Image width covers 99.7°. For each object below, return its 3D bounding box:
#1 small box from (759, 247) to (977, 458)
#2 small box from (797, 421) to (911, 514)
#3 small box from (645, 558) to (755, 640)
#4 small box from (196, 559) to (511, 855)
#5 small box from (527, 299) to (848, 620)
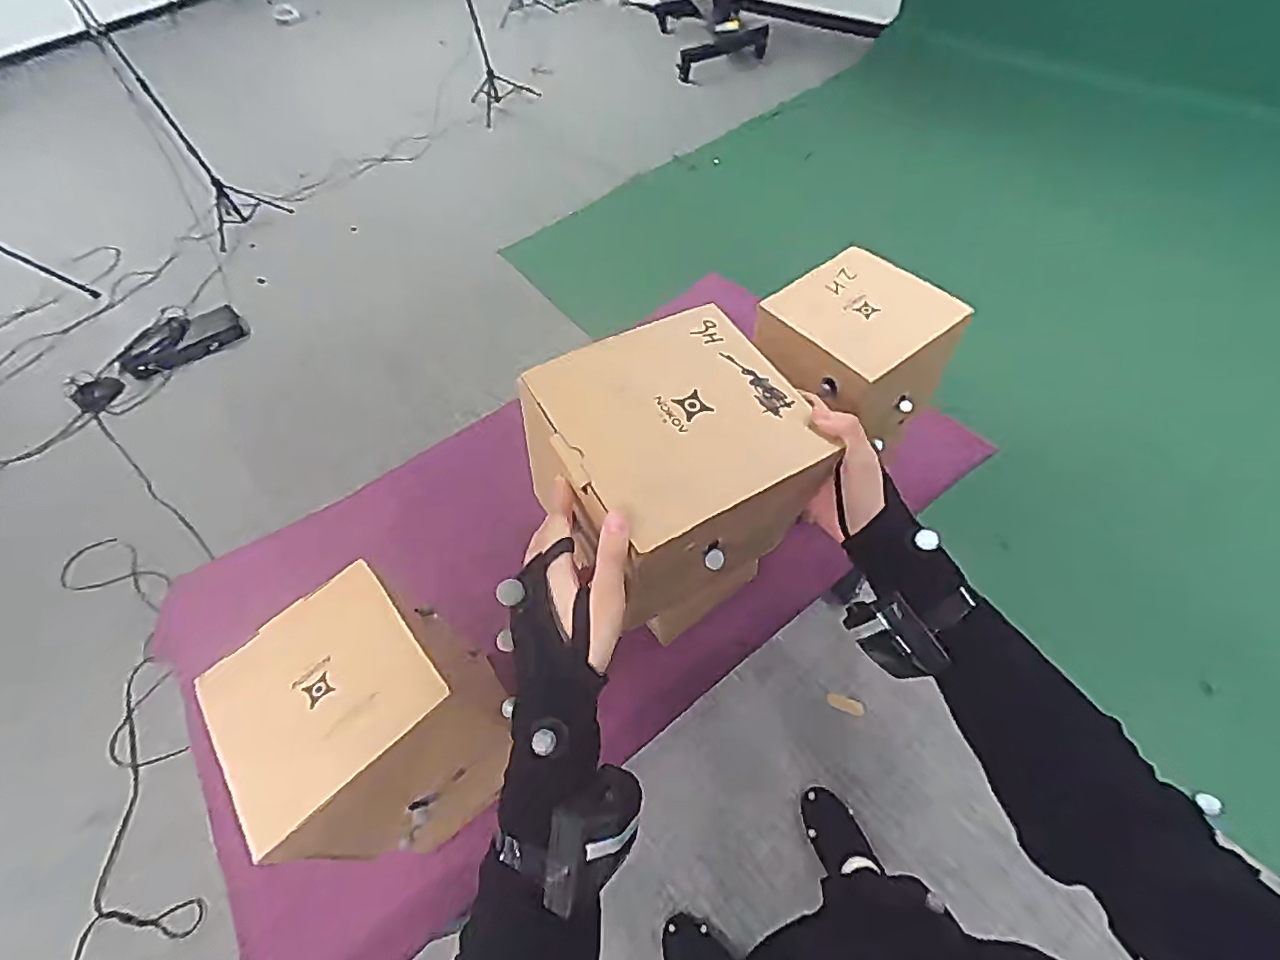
[{"bbox_3d":[0.267,-0.150,0.683,0.168,0.176,0.179,-33,58,-14],"label":"small box"},{"bbox_3d":[0.279,-0.071,0.827,0.168,0.176,0.179,-30,57,-12],"label":"small box"},{"bbox_3d":[0.048,0.090,0.748,0.179,0.176,0.168,-33,57,-15],"label":"small box"},{"bbox_3d":[-0.251,0.214,0.504,0.168,0.176,0.179,-39,58,-18],"label":"small box"},{"bbox_3d":[0.026,-0.011,0.445,0.179,0.176,0.168,-24,64,-20],"label":"small box"}]
